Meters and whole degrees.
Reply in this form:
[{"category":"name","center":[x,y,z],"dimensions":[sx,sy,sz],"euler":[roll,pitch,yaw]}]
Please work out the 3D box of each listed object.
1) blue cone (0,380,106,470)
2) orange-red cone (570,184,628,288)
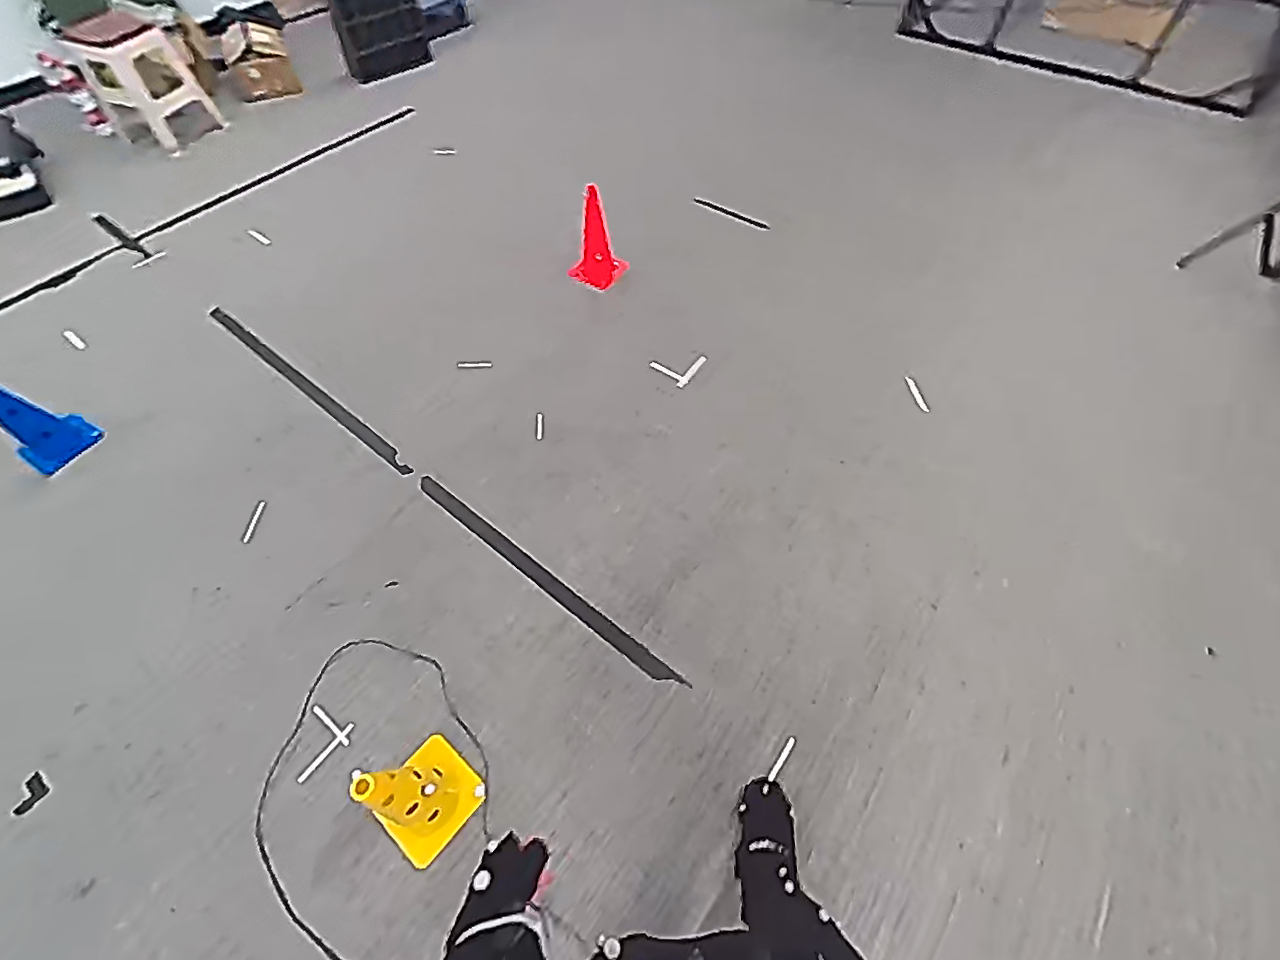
[{"category":"blue cone","center":[-1.919,-0.216,1.666],"dimensions":[0.193,0.380,0.192],"euler":[28,62,18]},{"category":"orange-red cone","center":[-0.177,-0.980,2.132],"dimensions":[0.199,0.360,0.198],"euler":[28,61,19]}]
